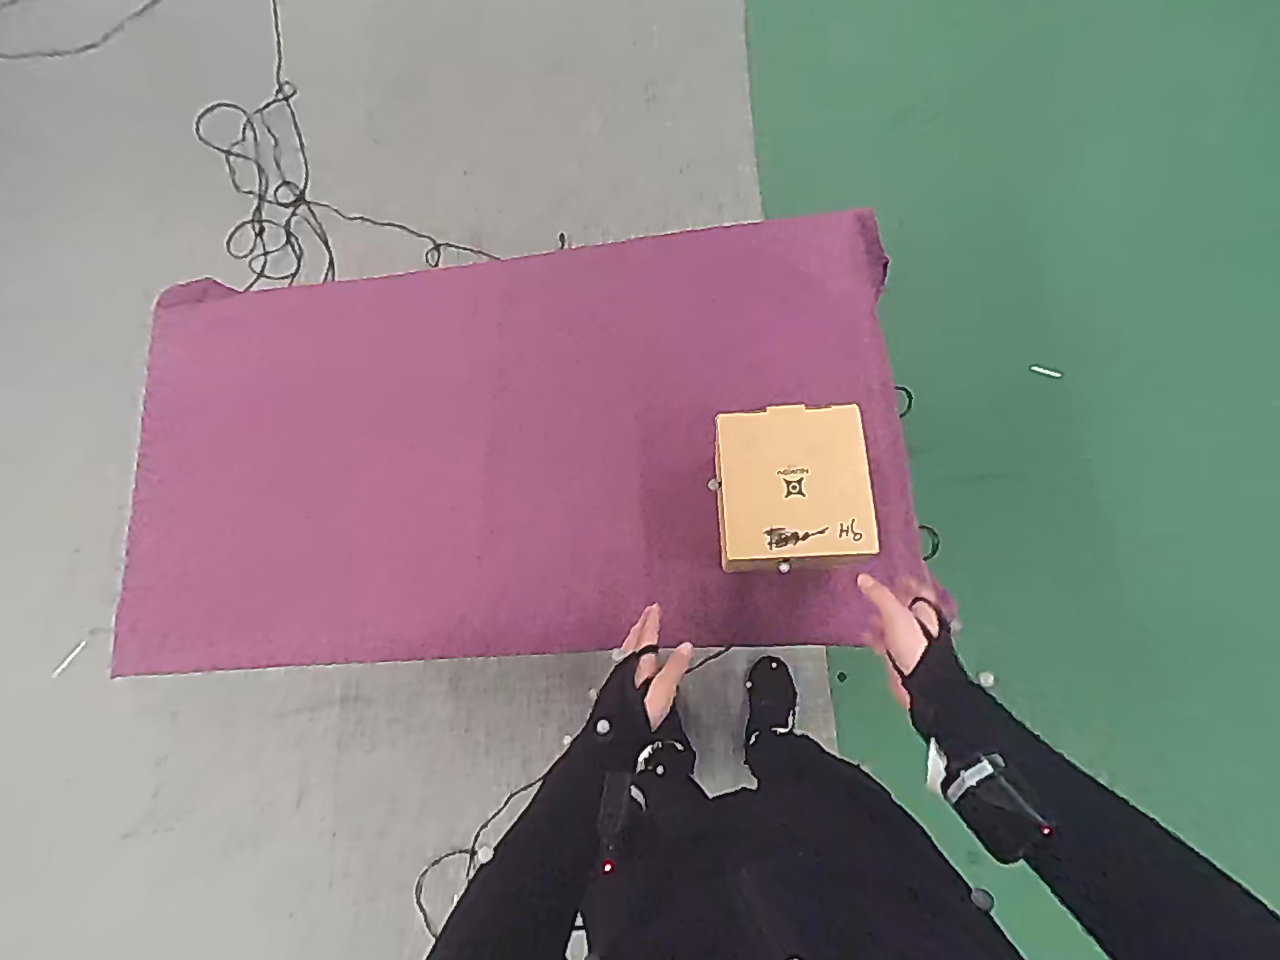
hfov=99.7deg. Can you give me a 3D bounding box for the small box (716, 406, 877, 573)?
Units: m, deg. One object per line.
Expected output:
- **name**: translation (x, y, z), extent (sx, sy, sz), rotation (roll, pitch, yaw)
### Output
- **small box**: translation (0.185, 0.021, 0.692), extent (0.168, 0.176, 0.179), rotation (-3, 75, 7)
